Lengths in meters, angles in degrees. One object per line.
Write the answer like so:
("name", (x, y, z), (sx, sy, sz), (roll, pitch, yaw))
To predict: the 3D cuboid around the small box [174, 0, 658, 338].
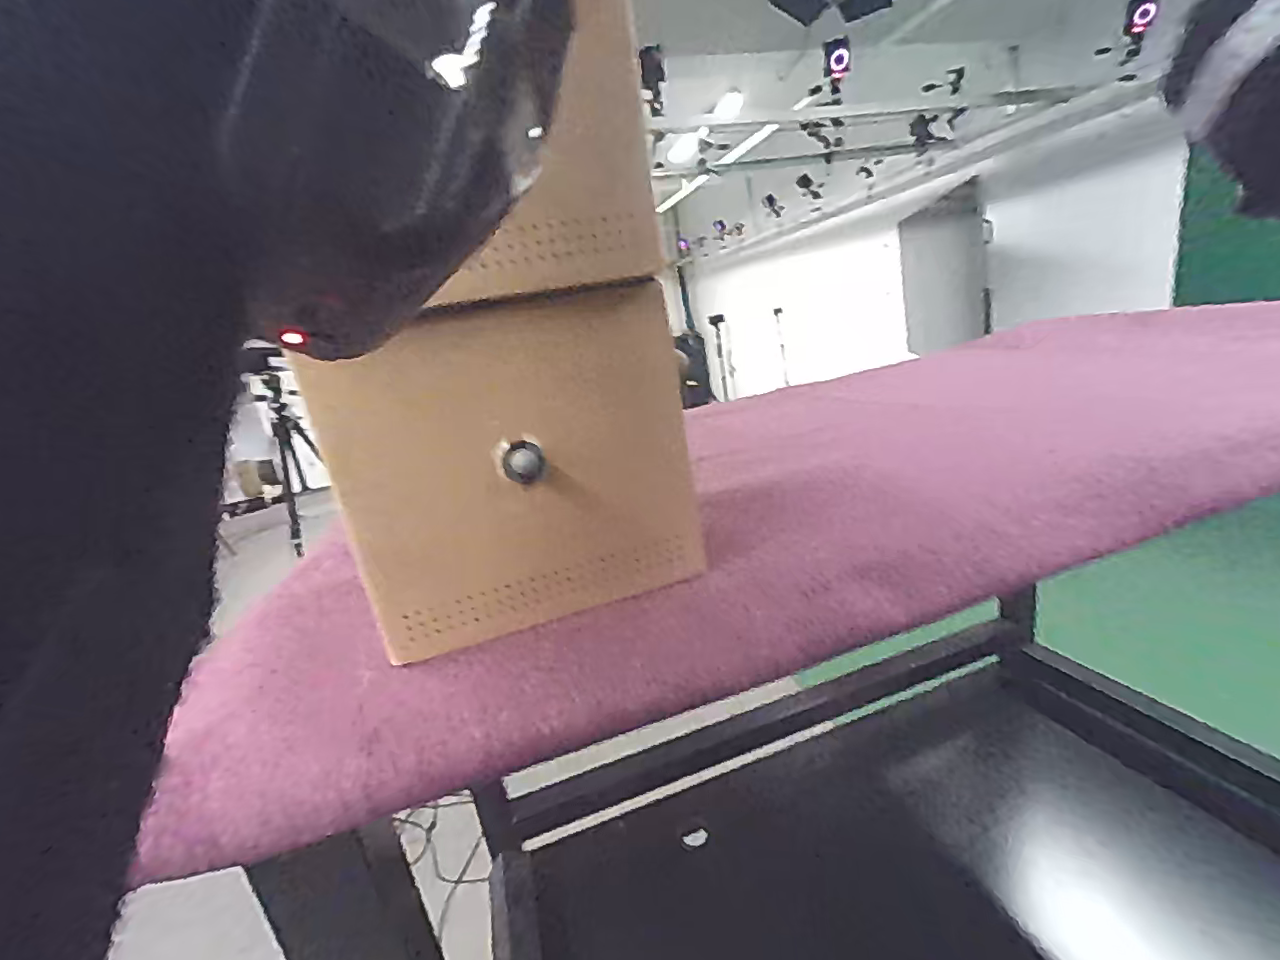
("small box", (-0.105, -0.171, 0.290), (0.179, 0.176, 0.168), (-13, 16, -15))
